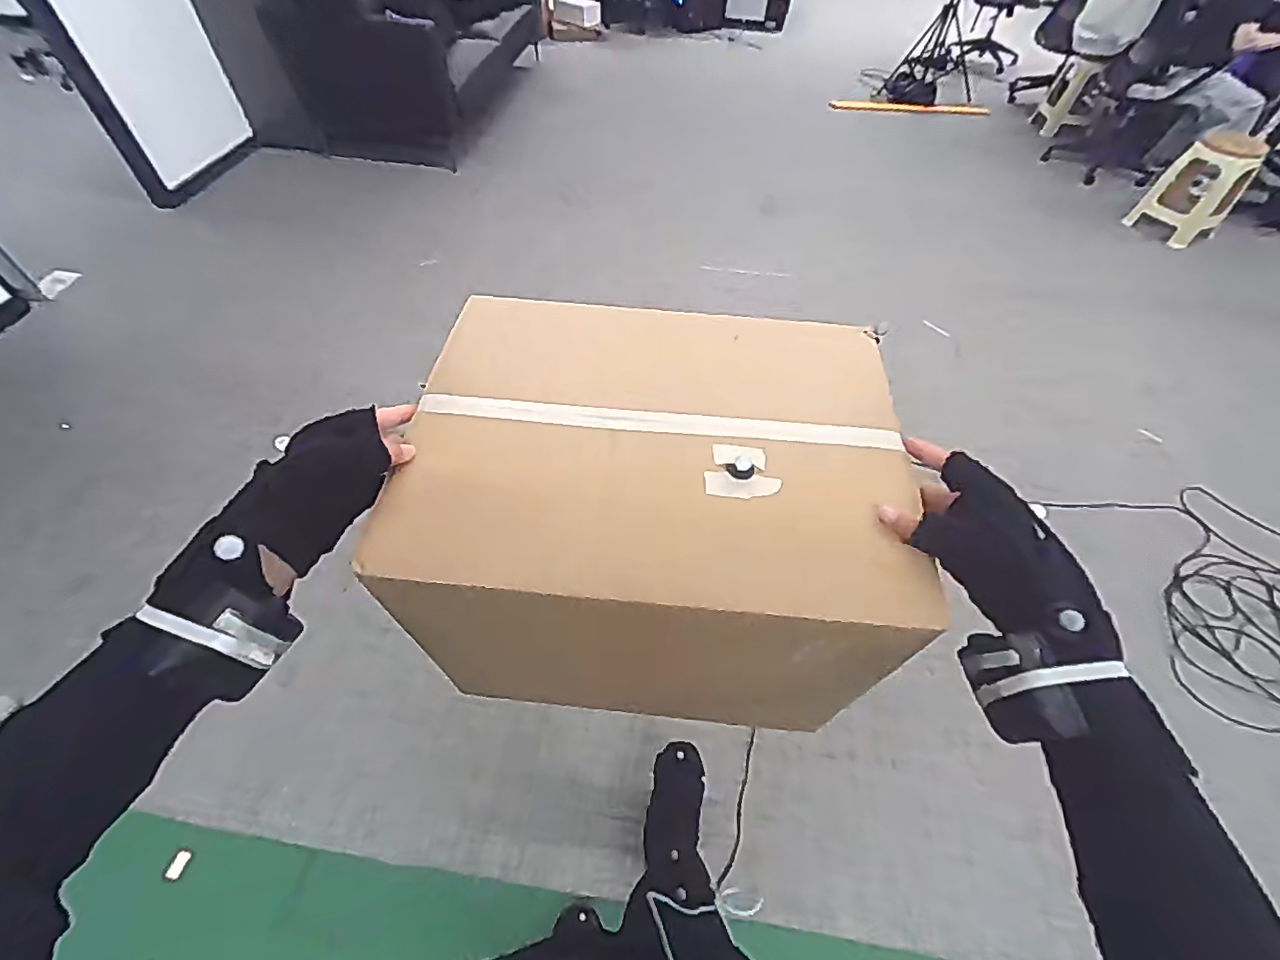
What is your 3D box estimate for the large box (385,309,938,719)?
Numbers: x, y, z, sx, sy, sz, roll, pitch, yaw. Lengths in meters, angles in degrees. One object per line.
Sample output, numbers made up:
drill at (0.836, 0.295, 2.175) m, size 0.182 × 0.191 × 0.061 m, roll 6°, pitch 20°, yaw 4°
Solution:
large box at (0.017, 0.048, 0.588) m, size 0.408 × 0.320 × 0.320 m, roll 6°, pitch 54°, yaw 1°
